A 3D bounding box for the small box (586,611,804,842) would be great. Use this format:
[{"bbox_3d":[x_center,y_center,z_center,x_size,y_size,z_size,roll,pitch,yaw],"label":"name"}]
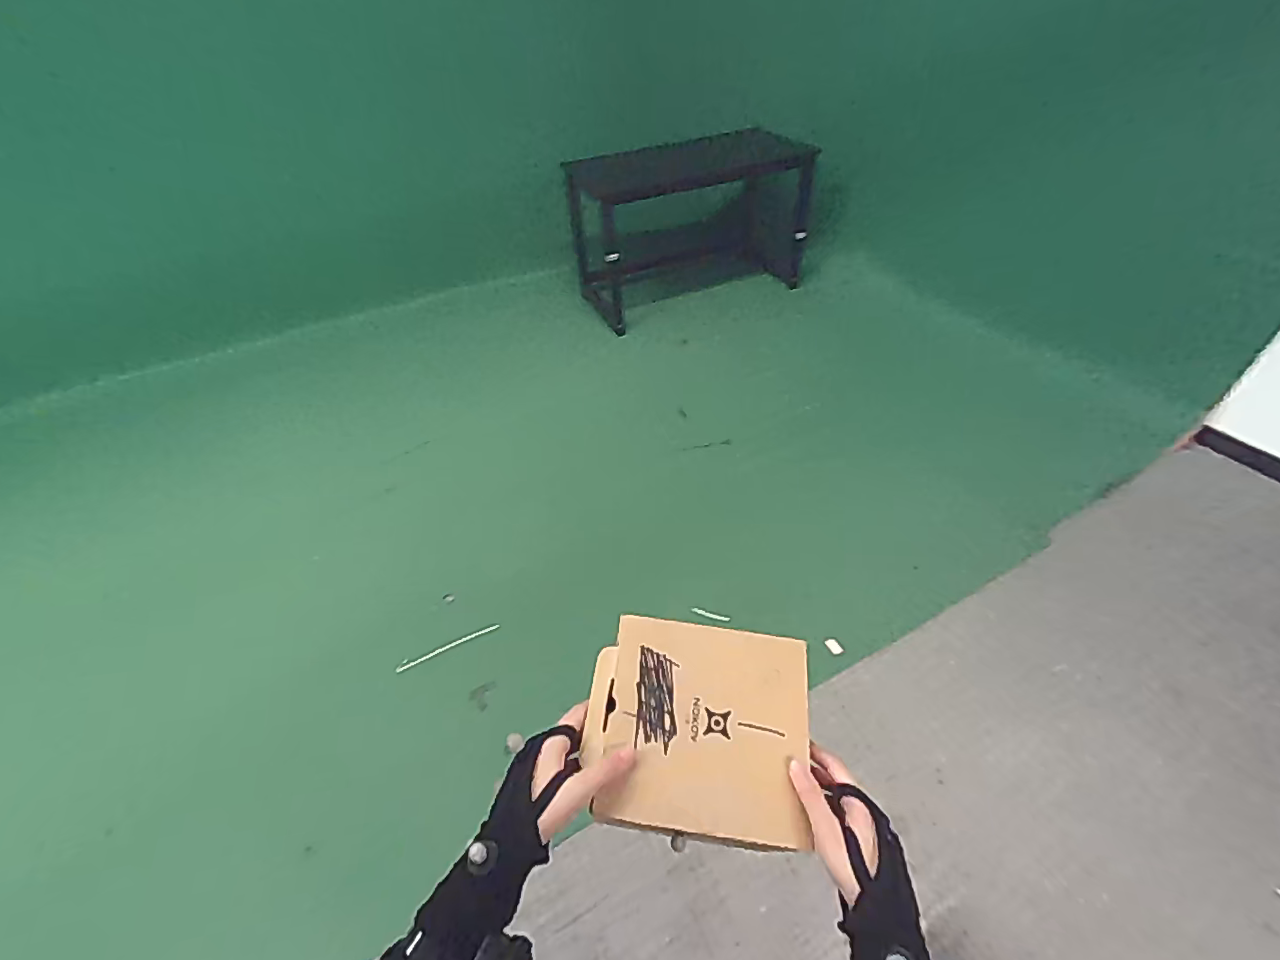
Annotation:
[{"bbox_3d":[0.051,0.247,0.533,0.179,0.176,0.168,8,56,2],"label":"small box"}]
